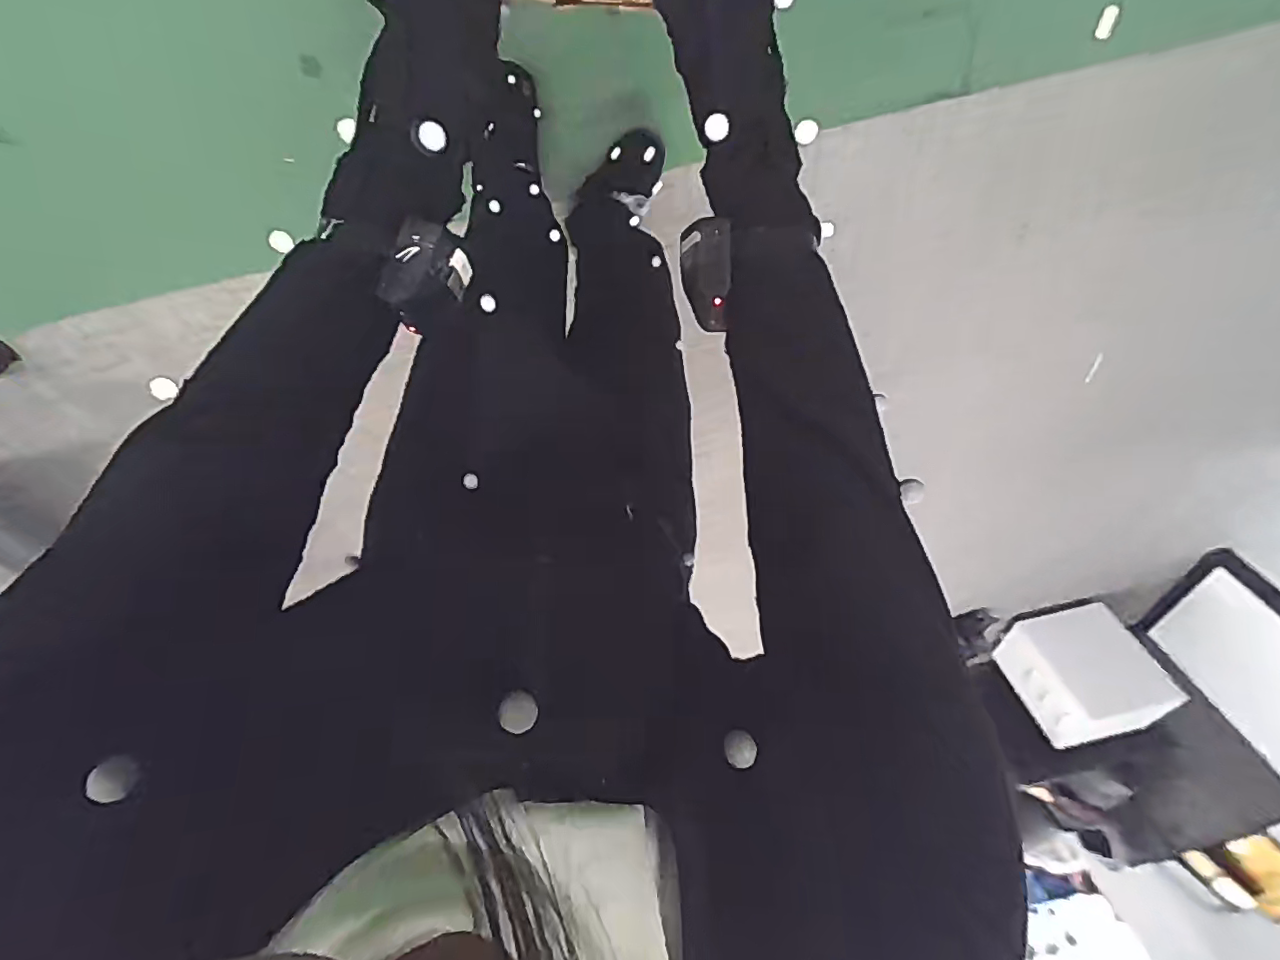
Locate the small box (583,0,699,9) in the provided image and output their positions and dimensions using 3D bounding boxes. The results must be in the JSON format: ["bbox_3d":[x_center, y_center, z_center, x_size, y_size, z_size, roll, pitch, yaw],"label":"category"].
[{"bbox_3d":[-0.047,-0.447,0.372,0.168,0.176,0.179,-6,131,-13],"label":"small box"}]
